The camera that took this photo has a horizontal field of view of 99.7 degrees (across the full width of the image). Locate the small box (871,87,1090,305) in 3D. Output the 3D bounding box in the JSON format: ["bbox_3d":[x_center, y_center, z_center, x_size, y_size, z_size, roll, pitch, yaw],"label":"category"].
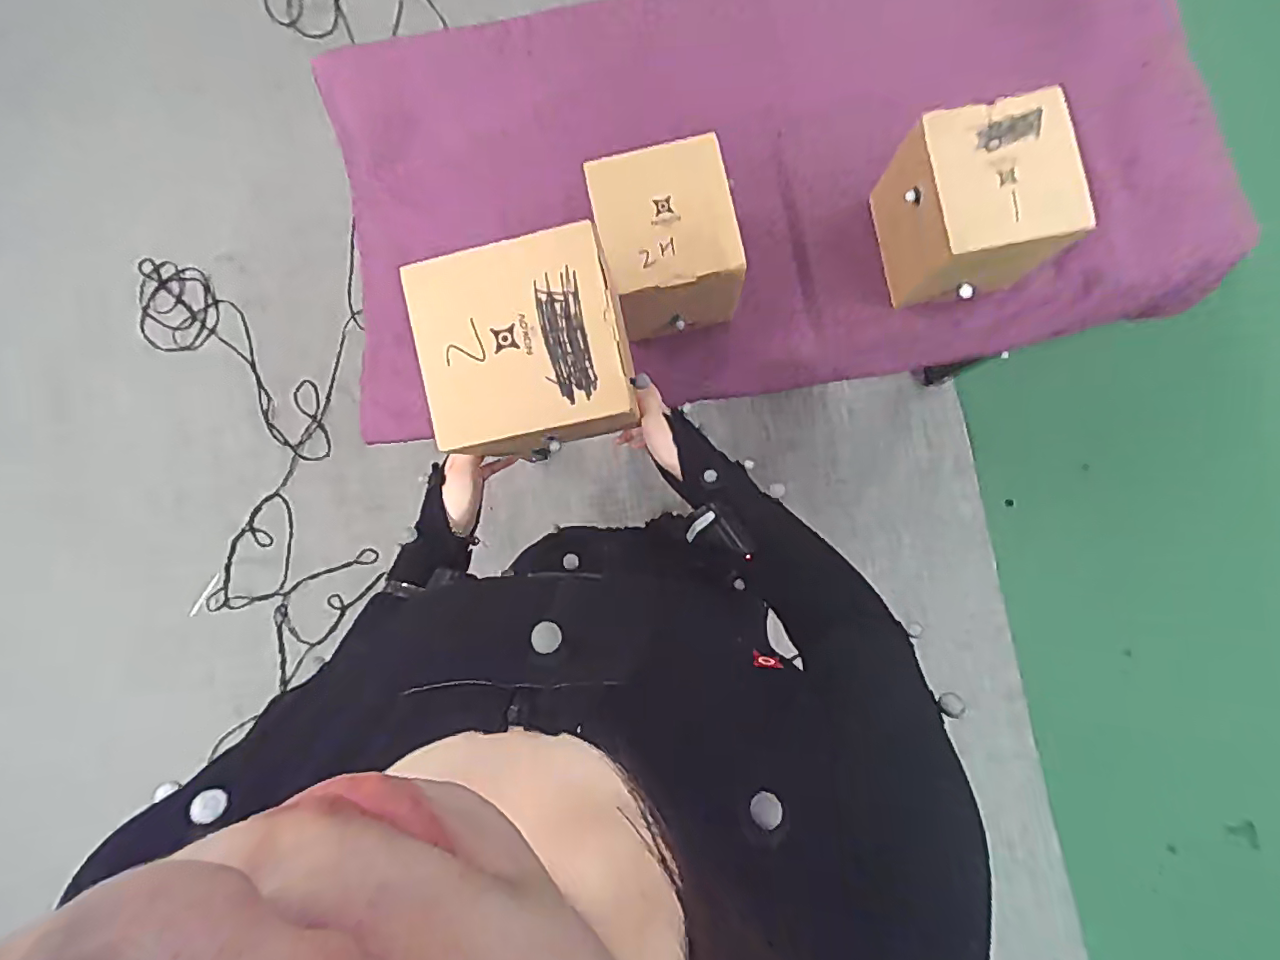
[{"bbox_3d":[0.424,-0.355,0.706,0.168,0.176,0.179,-11,86,3],"label":"small box"}]

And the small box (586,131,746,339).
[{"bbox_3d":[0.033,-0.312,0.721,0.168,0.176,0.179,-12,84,3],"label":"small box"}]
